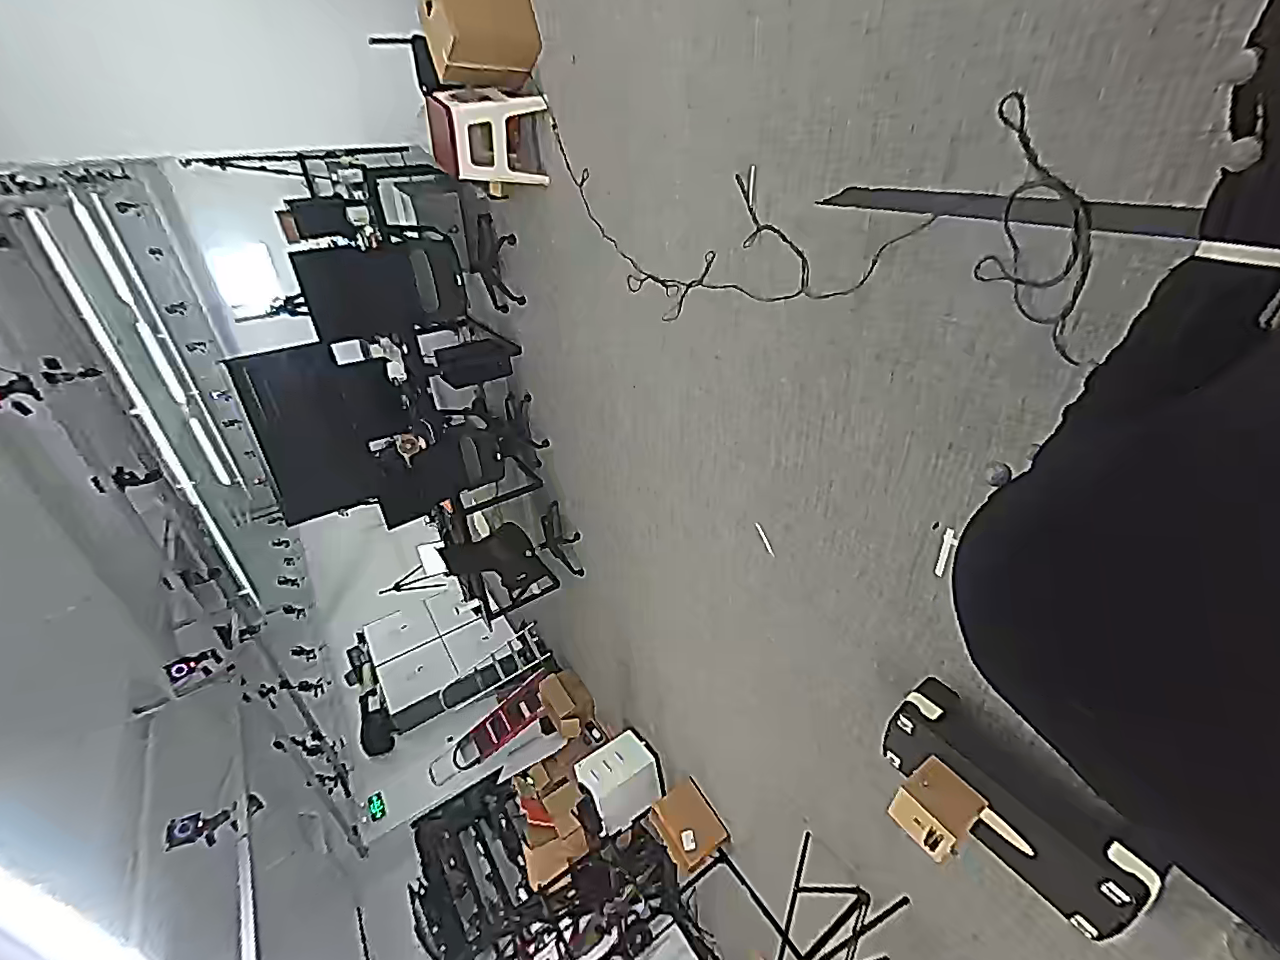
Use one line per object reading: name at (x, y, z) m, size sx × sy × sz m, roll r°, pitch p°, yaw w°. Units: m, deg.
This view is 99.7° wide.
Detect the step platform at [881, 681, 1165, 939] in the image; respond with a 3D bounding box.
step platform at (1.077, 0.951, 1.621) m, size 0.684 × 0.204 × 0.286 m, roll 35°, pitch 139°, yaw 45°
